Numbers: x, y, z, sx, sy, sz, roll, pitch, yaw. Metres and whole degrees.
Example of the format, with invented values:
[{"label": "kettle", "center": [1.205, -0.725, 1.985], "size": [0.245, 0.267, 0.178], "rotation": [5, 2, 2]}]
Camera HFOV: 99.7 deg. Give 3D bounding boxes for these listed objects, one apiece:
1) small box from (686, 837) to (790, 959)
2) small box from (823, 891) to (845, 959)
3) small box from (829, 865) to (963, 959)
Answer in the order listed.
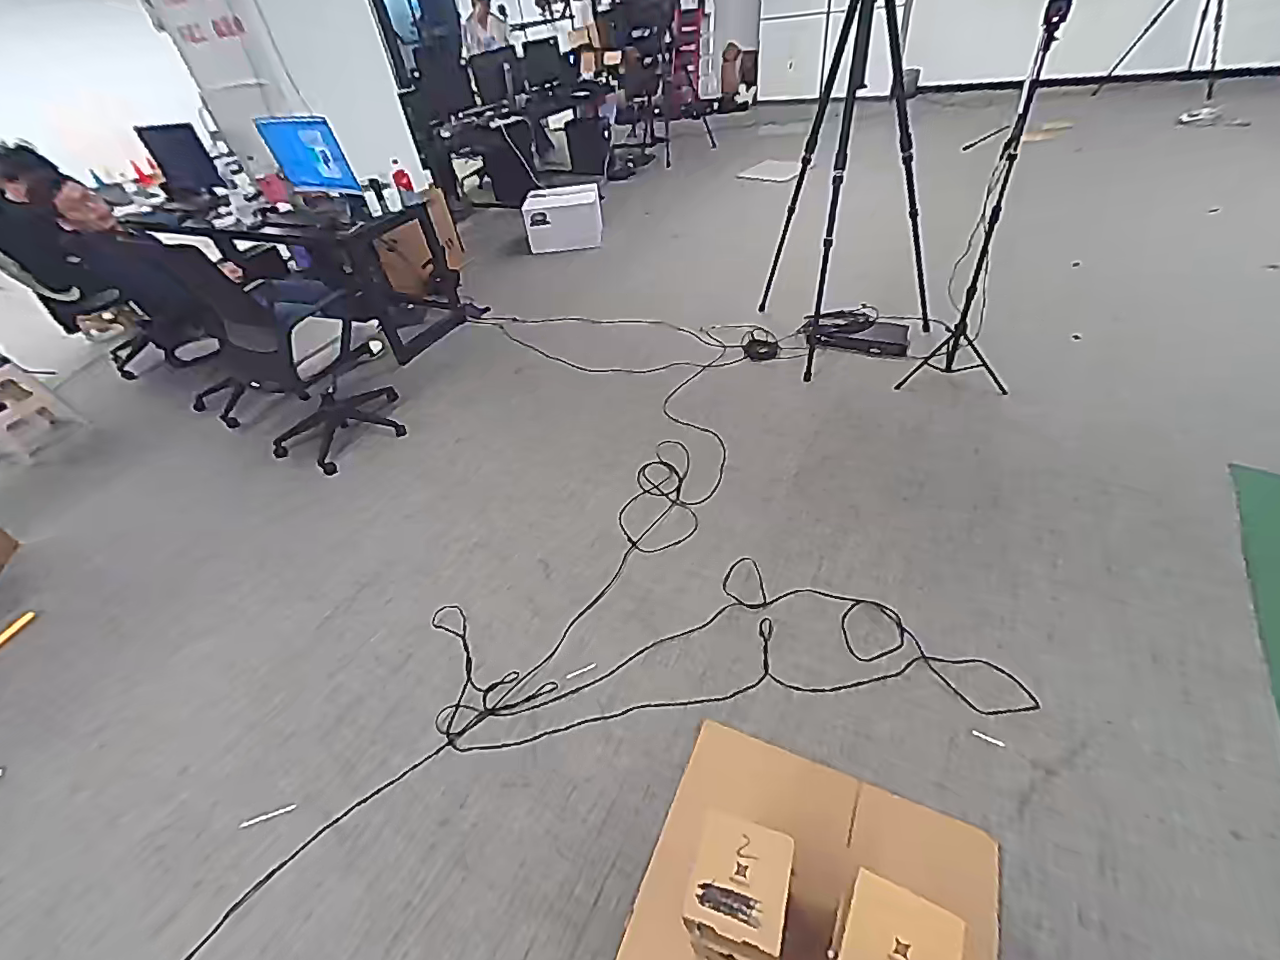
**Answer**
[{"label": "small box", "center": [0.203, 0.873, 1.096], "size": [0.168, 0.176, 0.179], "rotation": [10, 45, 20]}, {"label": "small box", "center": [0.433, 0.920, 1.006], "size": [0.168, 0.176, 0.179], "rotation": [12, 47, 24]}, {"label": "small box", "center": [0.417, 0.797, 0.901], "size": [0.168, 0.176, 0.179], "rotation": [15, 48, 26]}]
